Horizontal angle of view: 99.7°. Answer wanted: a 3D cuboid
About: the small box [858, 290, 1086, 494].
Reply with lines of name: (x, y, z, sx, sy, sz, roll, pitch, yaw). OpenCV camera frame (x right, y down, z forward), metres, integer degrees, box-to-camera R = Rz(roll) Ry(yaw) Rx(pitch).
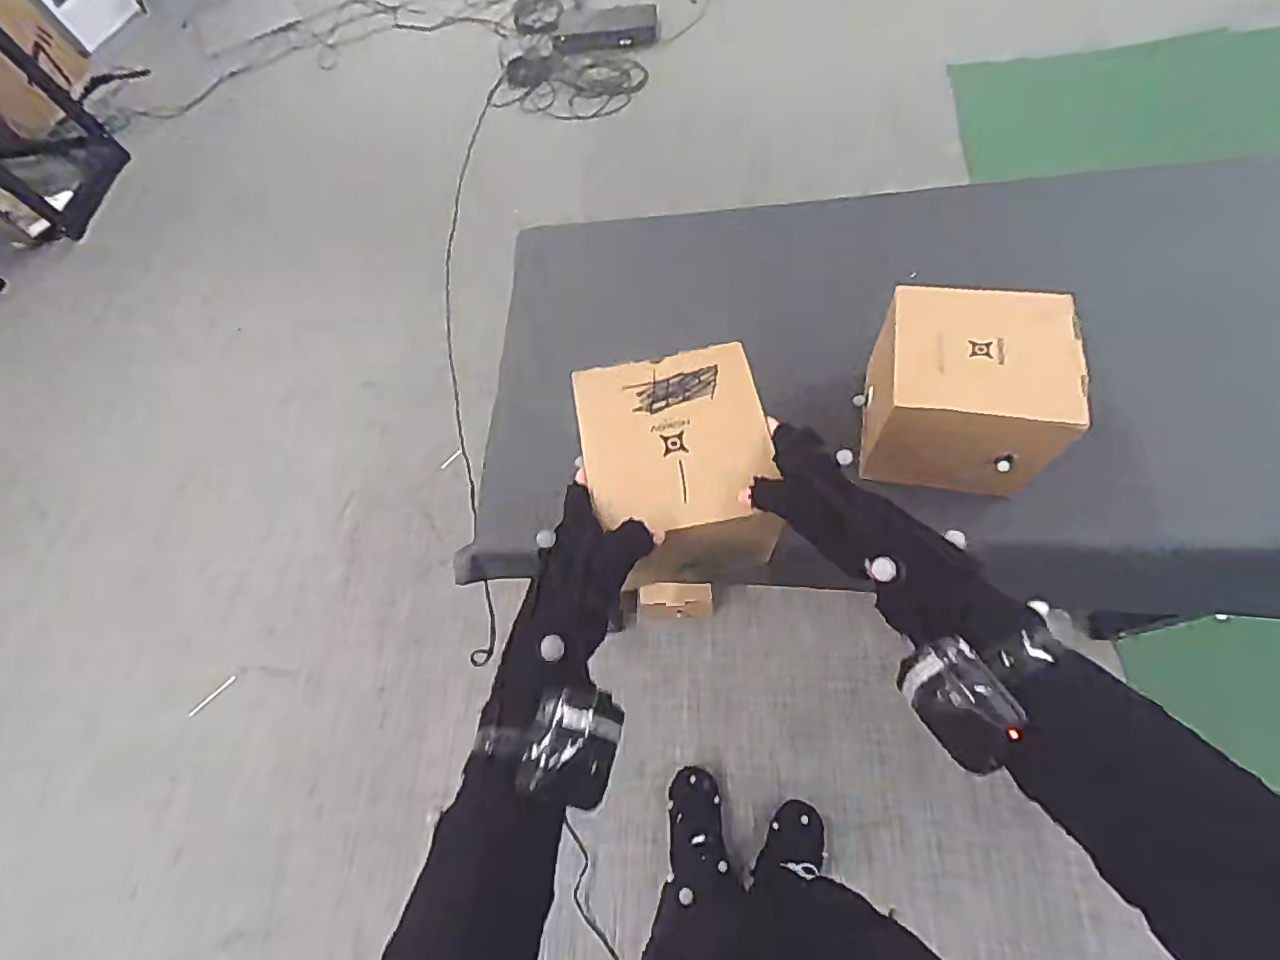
small box: (0.370, -0.096, 0.634, 0.179, 0.176, 0.168, 8, 65, 13)

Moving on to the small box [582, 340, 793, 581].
small box: (0.041, -0.012, 0.557, 0.168, 0.176, 0.179, -11, 65, 1)
